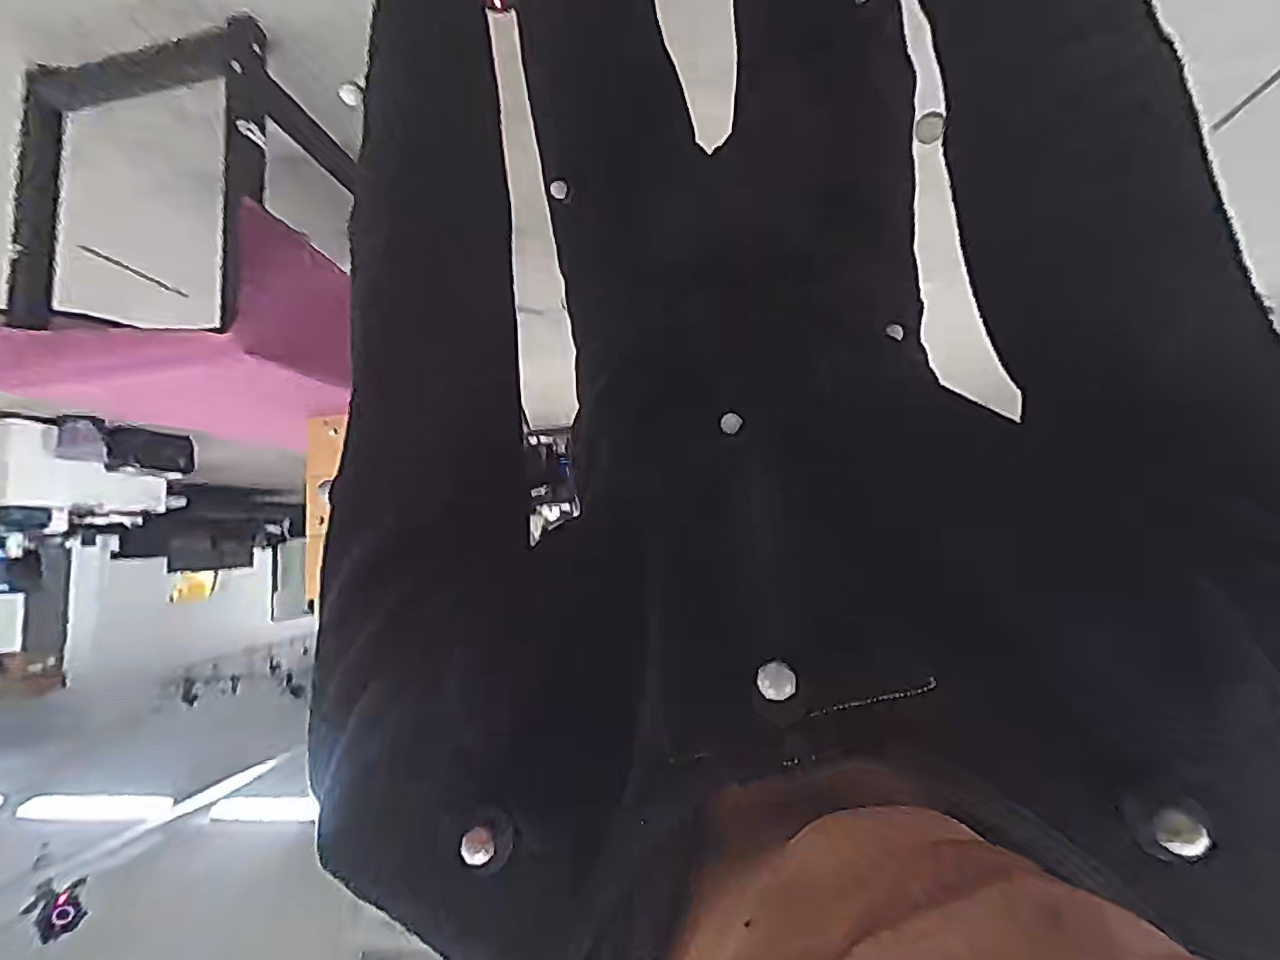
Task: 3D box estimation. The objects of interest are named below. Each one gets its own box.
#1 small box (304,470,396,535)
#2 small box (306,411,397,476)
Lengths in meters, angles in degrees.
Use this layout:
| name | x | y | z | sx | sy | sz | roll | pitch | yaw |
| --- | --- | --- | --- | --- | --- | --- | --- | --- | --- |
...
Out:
| name | x | y | z | sx | sy | sz | roll | pitch | yaw |
| --- | --- | --- | --- | --- | --- | --- | --- | --- | --- |
| small box | -0.817 | 0.067 | 1.537 | 0.179 | 0.176 | 0.168 | -5 | 174 | 6 |
| small box | -0.824 | -0.096 | 1.554 | 0.168 | 0.176 | 0.179 | -6 | 173 | 12 |
